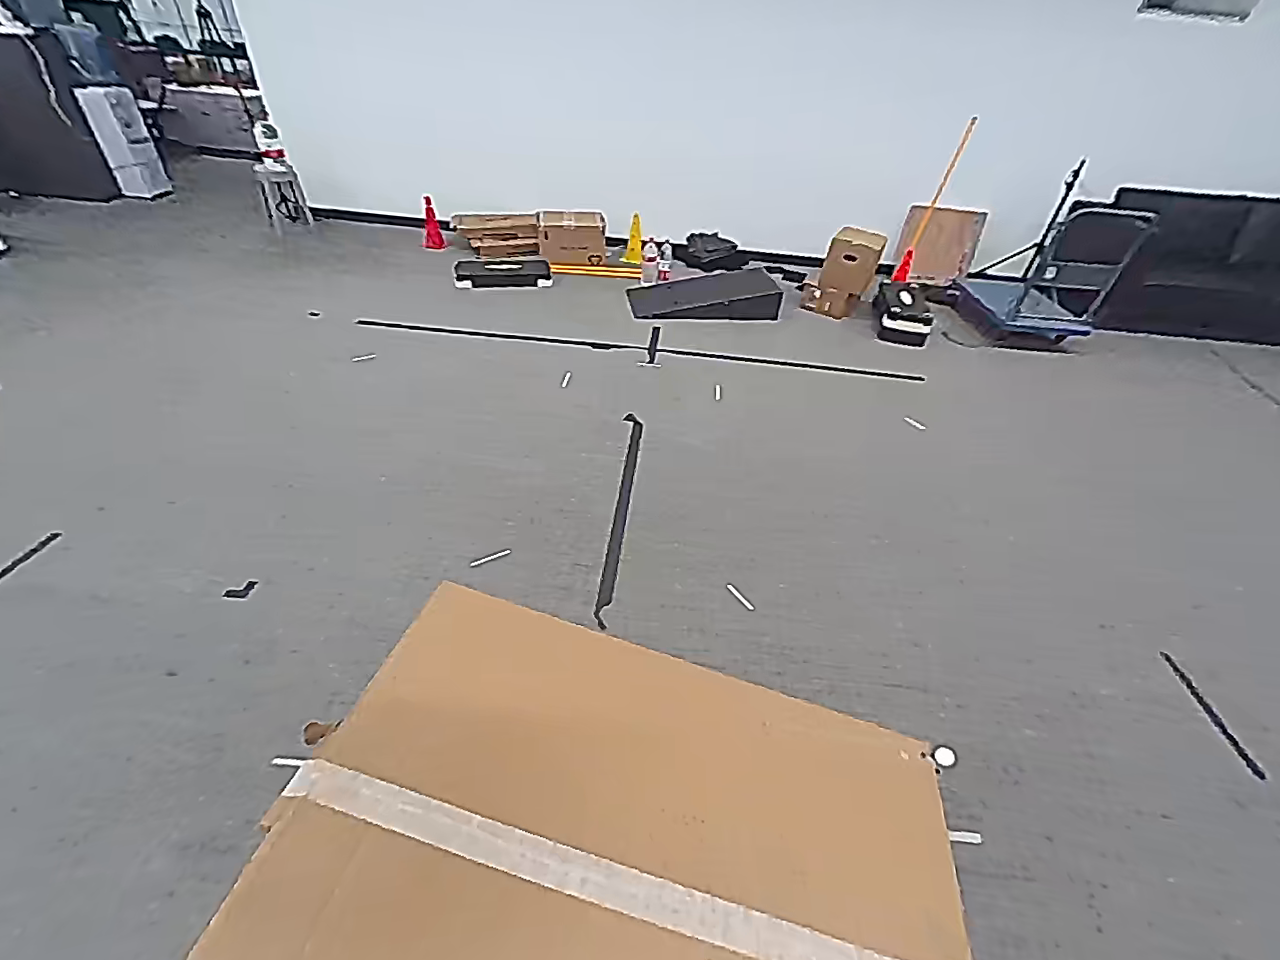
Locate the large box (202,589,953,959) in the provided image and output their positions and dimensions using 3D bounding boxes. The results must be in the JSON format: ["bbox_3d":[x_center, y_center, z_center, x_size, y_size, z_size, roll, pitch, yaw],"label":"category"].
[{"bbox_3d":[-0.038,0.346,0.414,0.408,0.320,0.320,18,41,1],"label":"large box"}]
